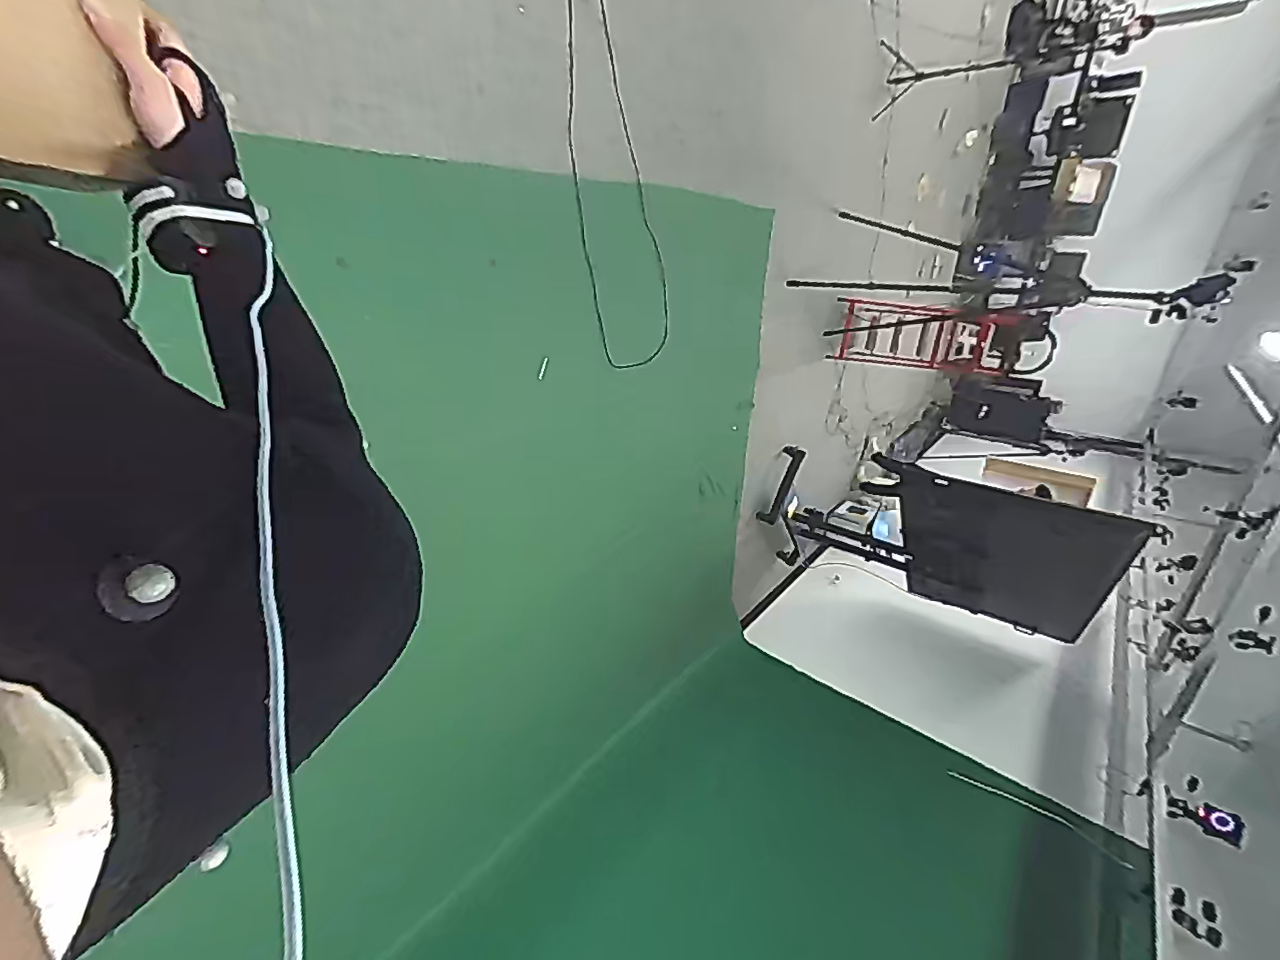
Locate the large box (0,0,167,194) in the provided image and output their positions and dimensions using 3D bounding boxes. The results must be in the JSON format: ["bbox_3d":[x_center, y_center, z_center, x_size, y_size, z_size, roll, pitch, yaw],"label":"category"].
[{"bbox_3d":[-0.653,-0.417,0.383,0.408,0.320,0.320,-14,119,-49],"label":"large box"}]
